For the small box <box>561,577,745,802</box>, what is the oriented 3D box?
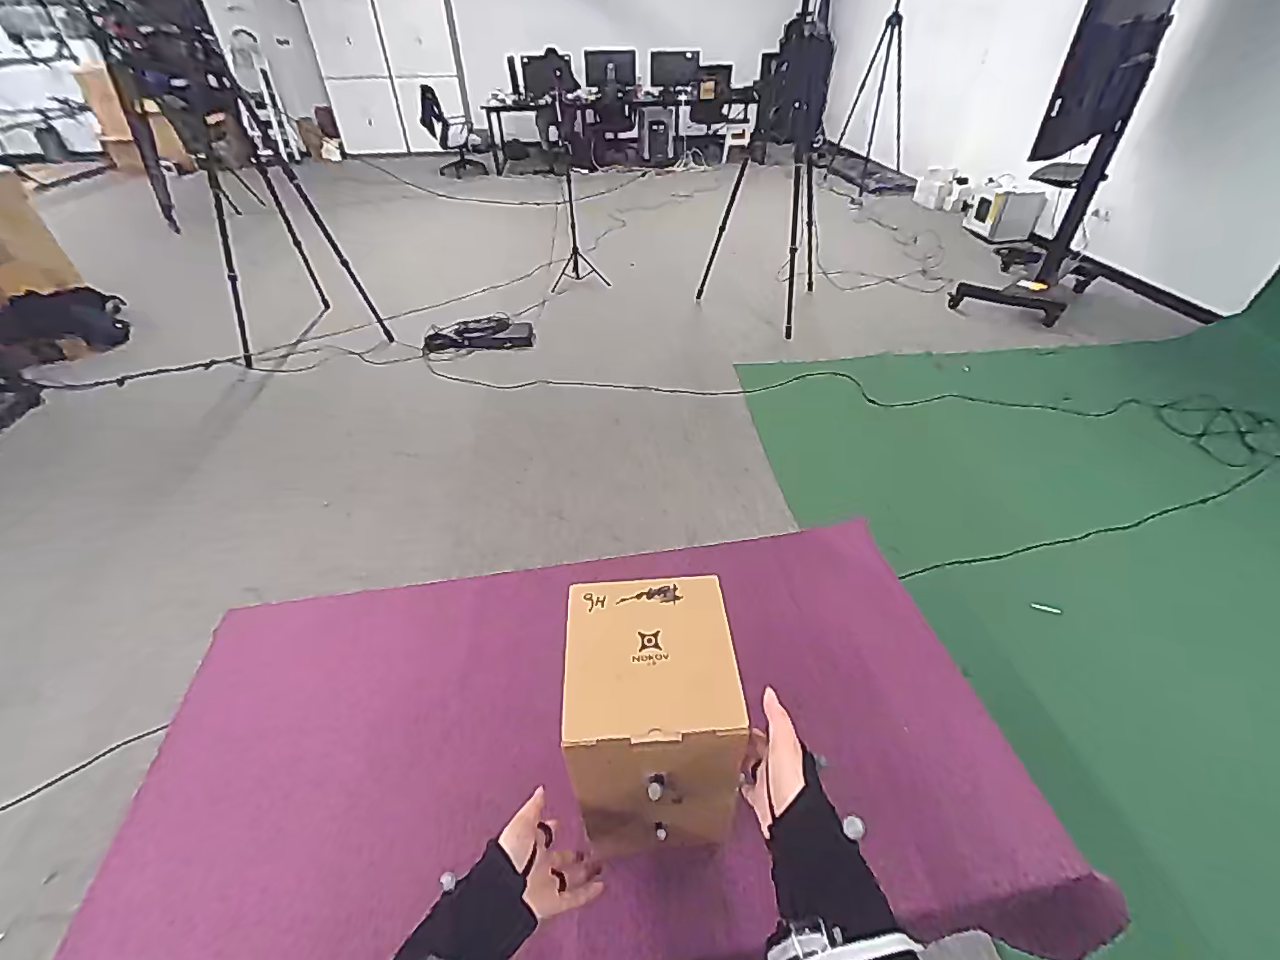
[{"bbox_3d":[0.011,0.228,0.583,0.168,0.176,0.179,-3,42,-2],"label":"small box"}]
